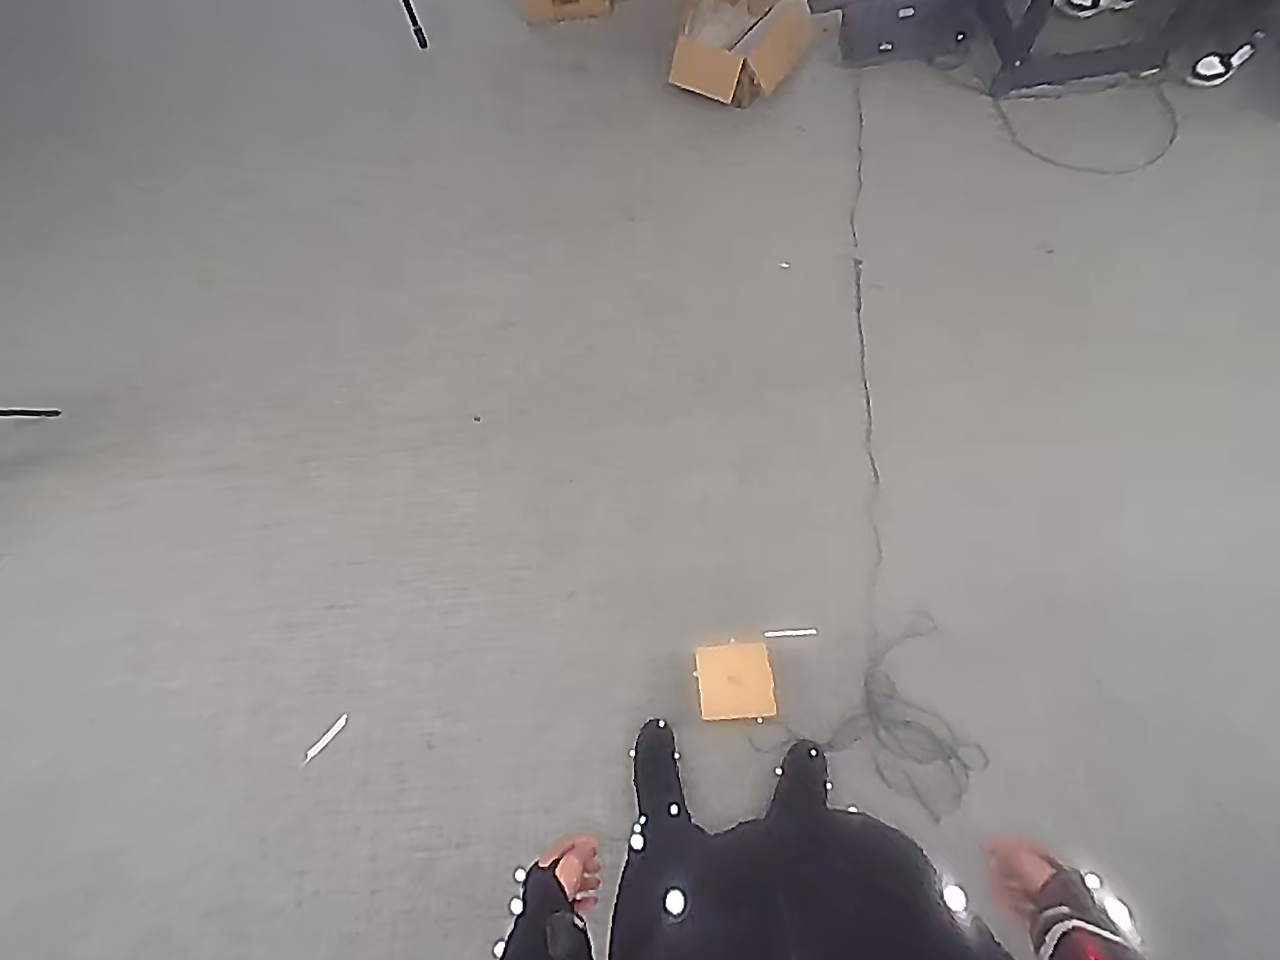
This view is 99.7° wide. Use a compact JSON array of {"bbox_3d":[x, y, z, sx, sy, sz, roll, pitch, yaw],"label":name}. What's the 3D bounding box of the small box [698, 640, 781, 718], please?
[{"bbox_3d":[0.245,0.496,1.346,0.179,0.176,0.168,-7,69,6],"label":"small box"}]
